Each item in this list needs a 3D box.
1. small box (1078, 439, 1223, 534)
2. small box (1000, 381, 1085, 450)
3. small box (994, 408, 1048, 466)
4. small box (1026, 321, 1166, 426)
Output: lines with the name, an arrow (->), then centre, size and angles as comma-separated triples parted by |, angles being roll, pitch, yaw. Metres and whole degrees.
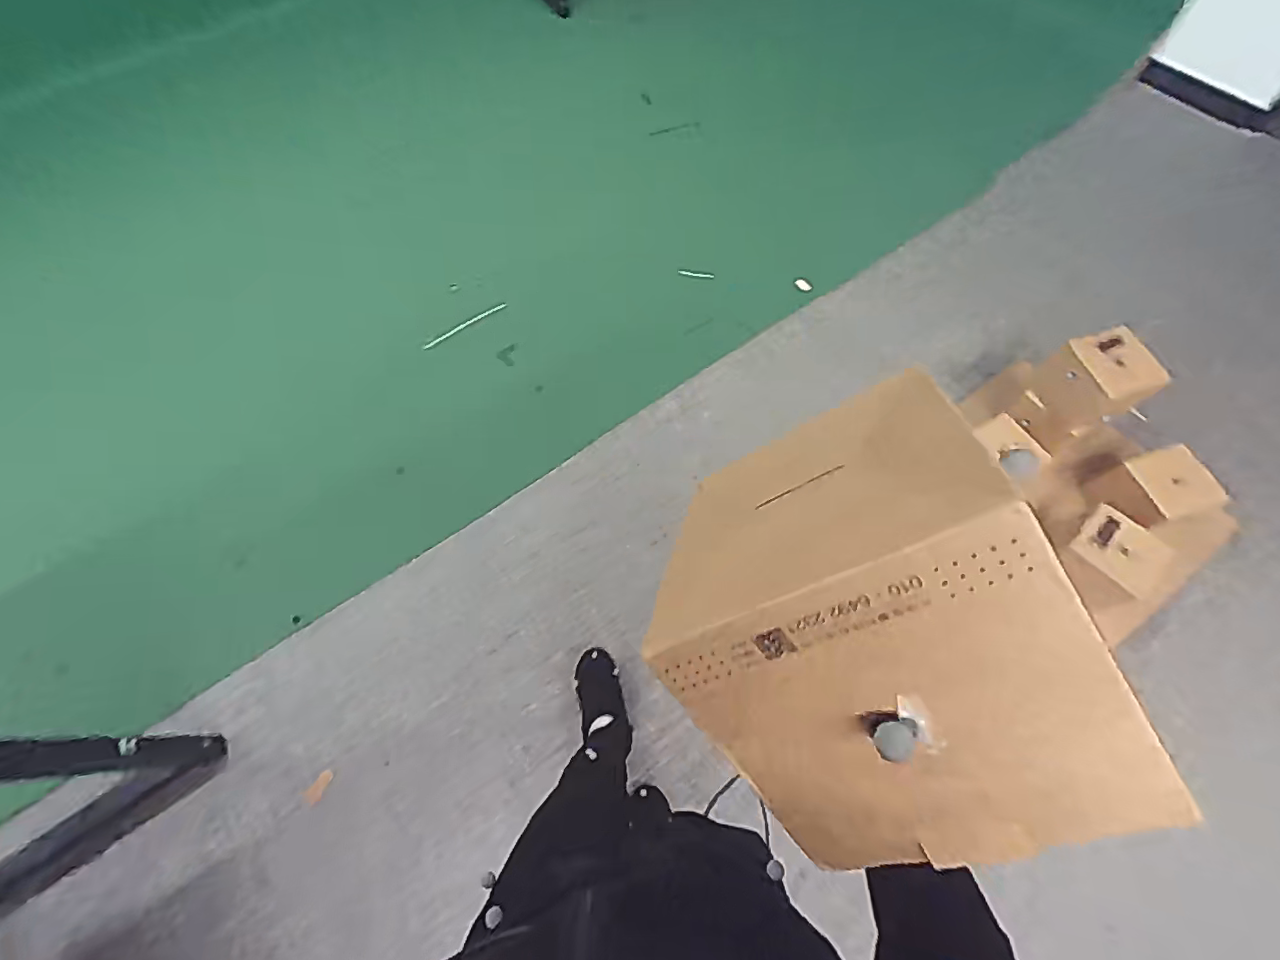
small box -> 1.308, 0.022, 1.401 | 0.179, 0.176, 0.168 | -16, 66, -5
small box -> 1.140, -0.199, 1.512 | 0.179, 0.176, 0.168 | -32, 69, -12
small box -> 0.924, -0.056, 1.455 | 0.179, 0.176, 0.168 | -29, 68, -10
small box -> 1.131, -0.265, 1.361 | 0.168, 0.176, 0.179 | -16, 67, -5
